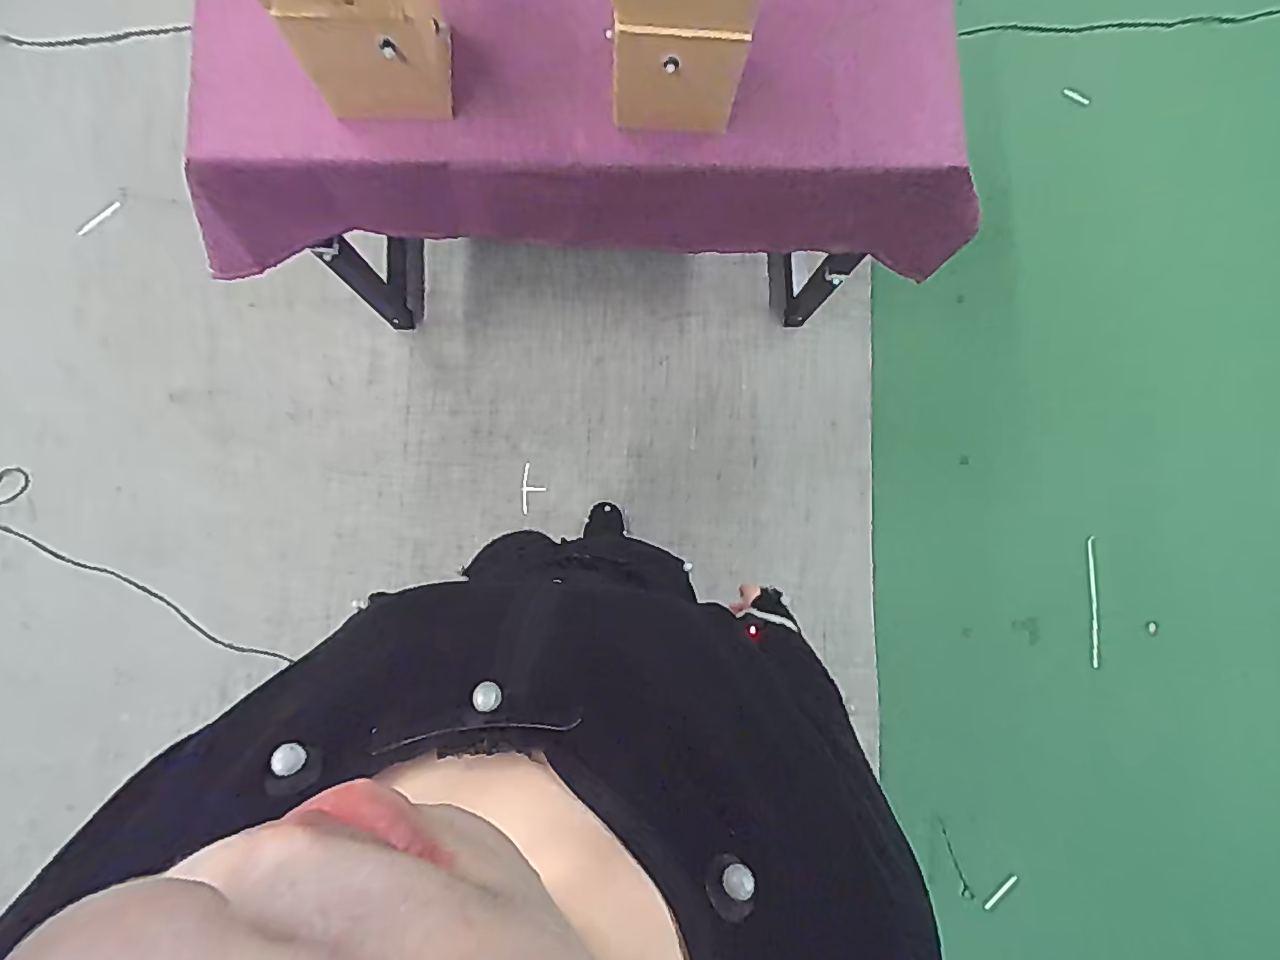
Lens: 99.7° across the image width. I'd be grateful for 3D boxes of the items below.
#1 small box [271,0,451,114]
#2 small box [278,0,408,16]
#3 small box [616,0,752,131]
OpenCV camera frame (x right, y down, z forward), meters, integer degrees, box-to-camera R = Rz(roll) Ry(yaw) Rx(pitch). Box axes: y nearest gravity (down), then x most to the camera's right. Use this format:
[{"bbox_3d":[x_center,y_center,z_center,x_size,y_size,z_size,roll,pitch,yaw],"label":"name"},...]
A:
[{"bbox_3d":[-0.369,-0.644,0.749,0.179,0.176,0.168,-1,84,-4],"label":"small box"},{"bbox_3d":[-0.362,-0.665,0.587,0.168,0.176,0.179,-1,86,-4],"label":"small box"},{"bbox_3d":[0.054,-0.637,0.775,0.179,0.176,0.168,1,85,-4],"label":"small box"}]
